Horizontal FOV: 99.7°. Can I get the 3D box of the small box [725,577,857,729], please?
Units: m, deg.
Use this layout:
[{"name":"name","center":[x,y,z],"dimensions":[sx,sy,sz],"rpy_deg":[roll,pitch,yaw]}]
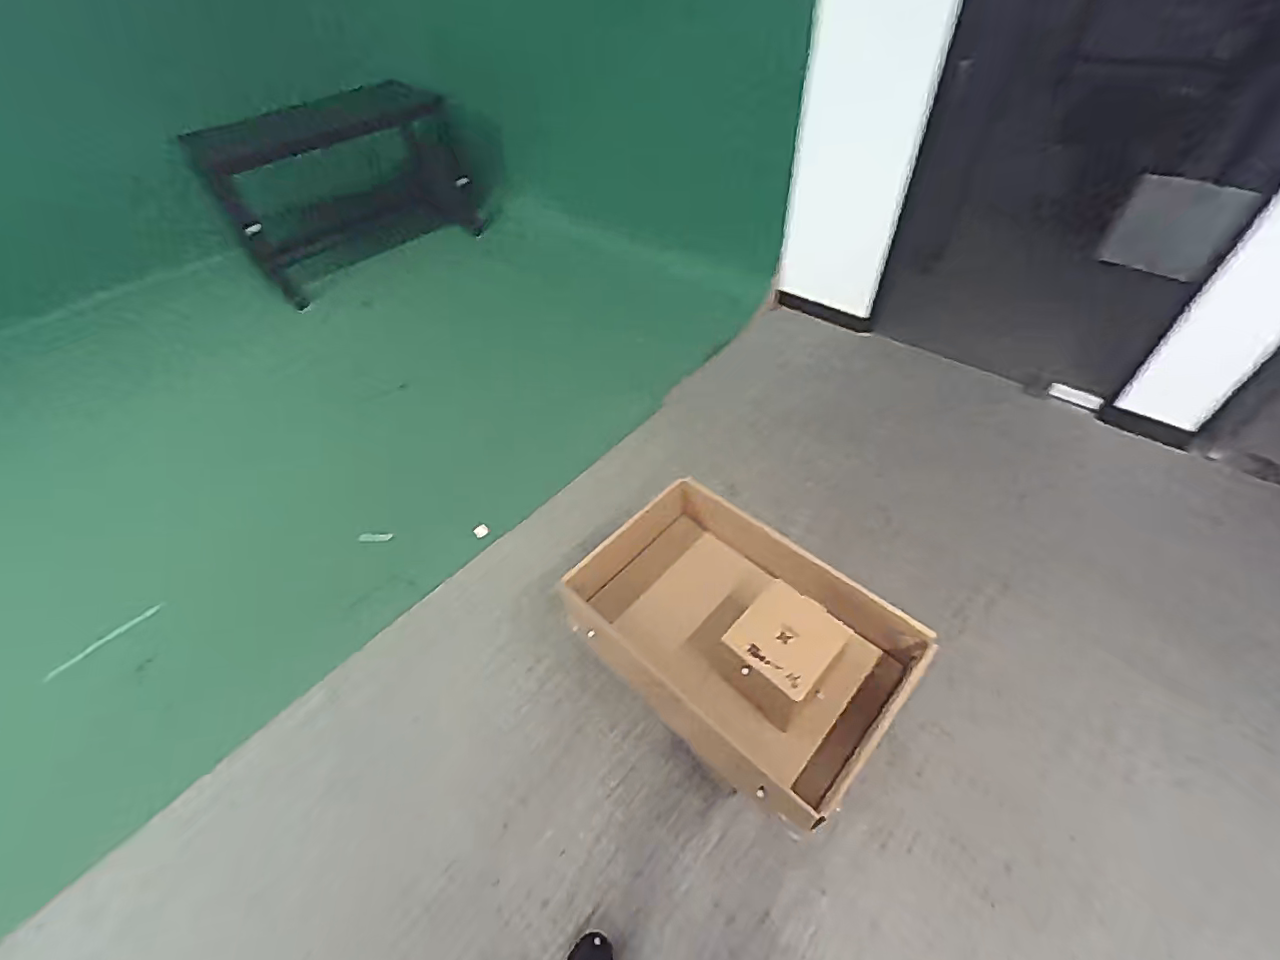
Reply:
[{"name":"small box","center":[0.271,0.323,1.012],"dimensions":[0.179,0.176,0.168],"rpy_deg":[-38,54,-26]}]
